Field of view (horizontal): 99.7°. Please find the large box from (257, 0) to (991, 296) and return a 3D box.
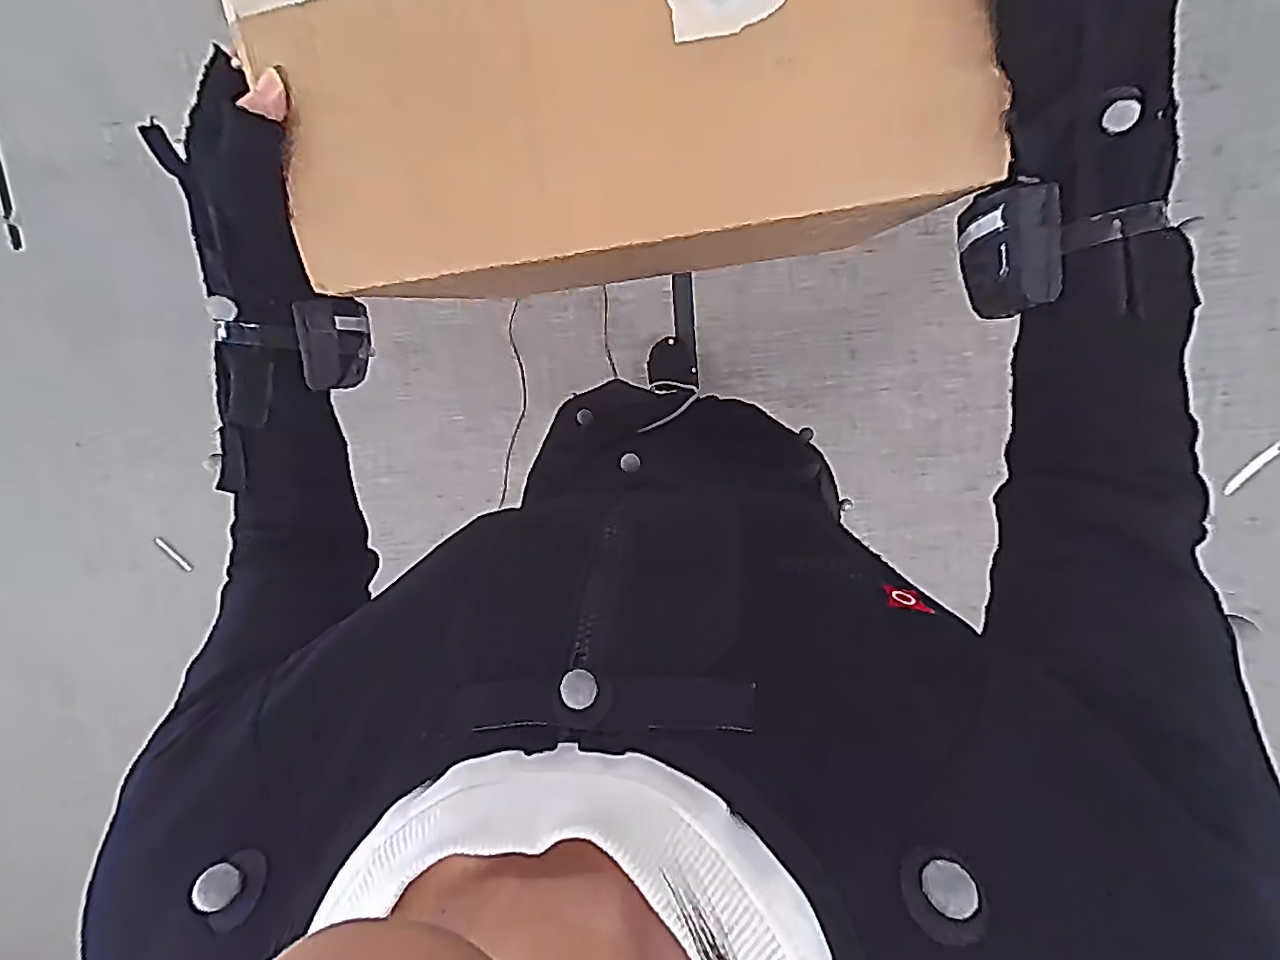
[{"bbox_3d":[-0.012,-0.339,0.425,0.408,0.320,0.320,-6,107,8],"label":"large box"}]
